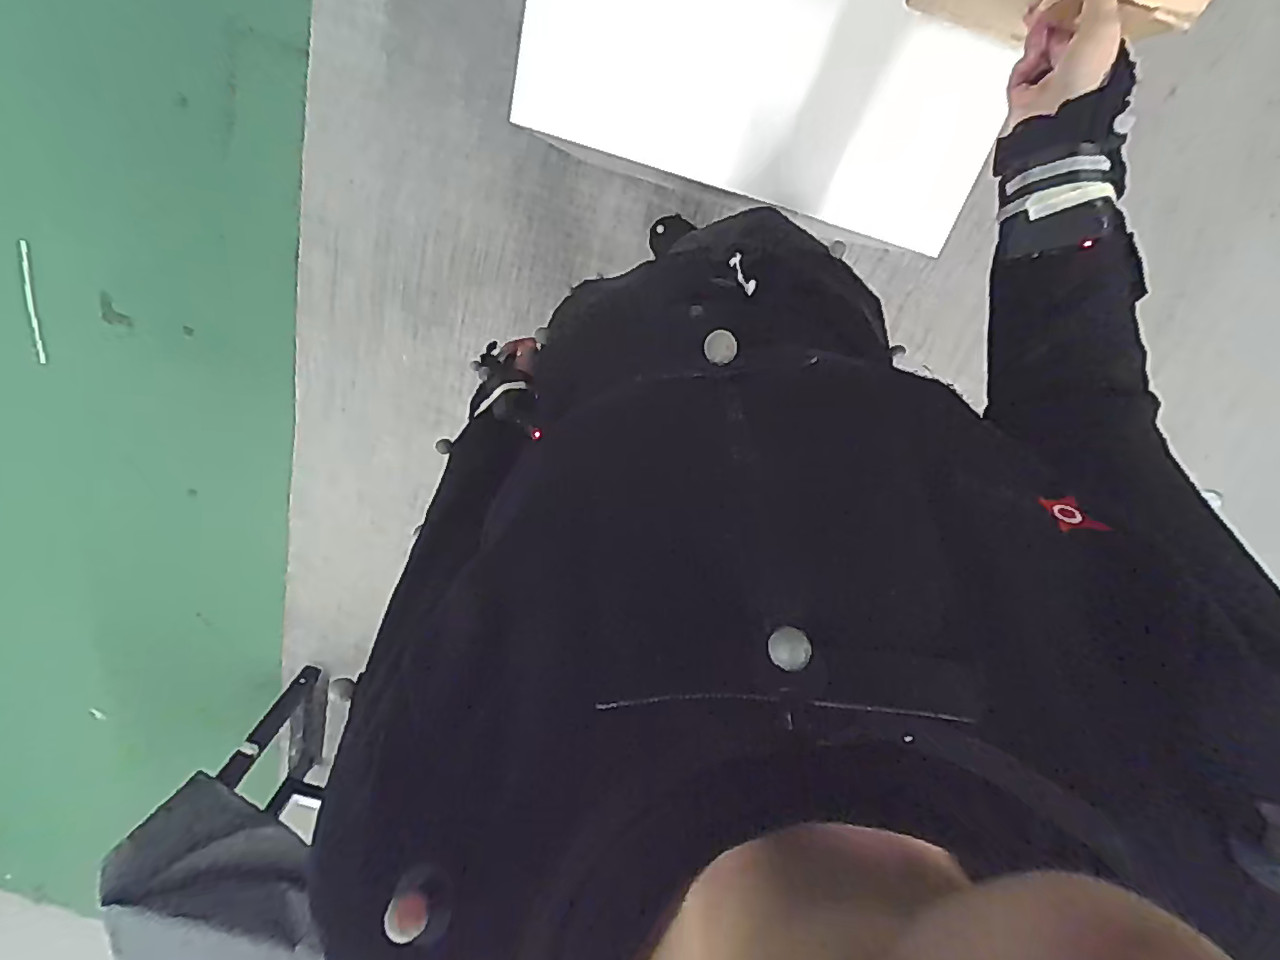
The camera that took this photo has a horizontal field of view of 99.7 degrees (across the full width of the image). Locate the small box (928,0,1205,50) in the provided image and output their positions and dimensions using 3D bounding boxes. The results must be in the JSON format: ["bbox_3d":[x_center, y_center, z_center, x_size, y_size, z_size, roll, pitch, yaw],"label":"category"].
[{"bbox_3d":[0.335,-0.450,0.394,0.168,0.176,0.179,16,121,-4],"label":"small box"}]
